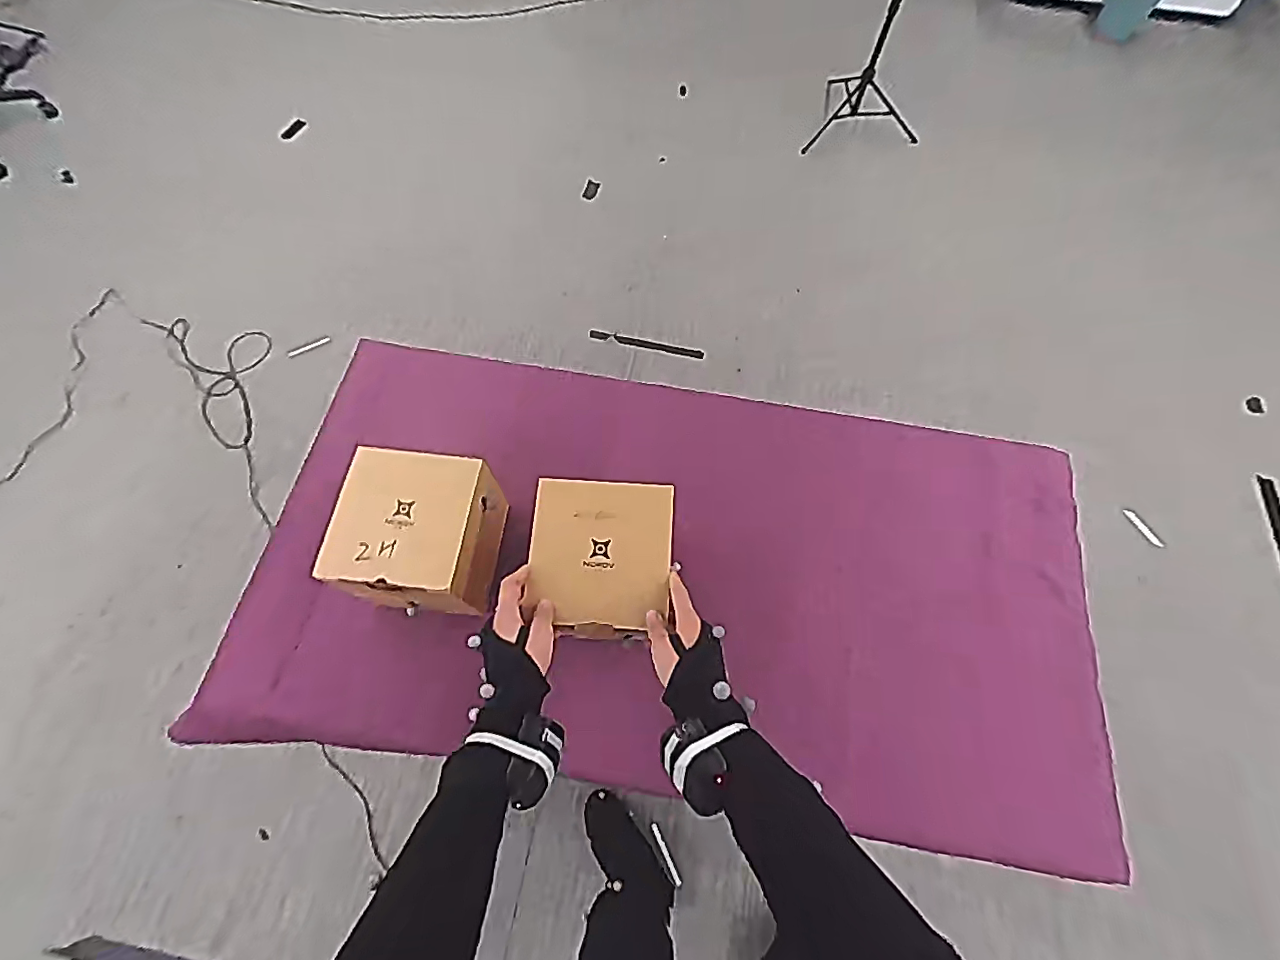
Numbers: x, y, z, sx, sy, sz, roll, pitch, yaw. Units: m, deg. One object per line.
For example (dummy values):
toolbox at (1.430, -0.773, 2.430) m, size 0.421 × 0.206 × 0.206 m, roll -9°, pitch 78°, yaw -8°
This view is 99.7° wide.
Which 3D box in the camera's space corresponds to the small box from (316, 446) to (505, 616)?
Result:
small box at (-0.292, 0.075, 0.737) m, size 0.168 × 0.176 × 0.179 m, roll 6°, pitch 67°, yaw 2°

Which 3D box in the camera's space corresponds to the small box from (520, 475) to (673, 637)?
small box at (-0.047, 0.107, 0.704) m, size 0.168 × 0.176 × 0.179 m, roll 4°, pitch 71°, yaw 1°
